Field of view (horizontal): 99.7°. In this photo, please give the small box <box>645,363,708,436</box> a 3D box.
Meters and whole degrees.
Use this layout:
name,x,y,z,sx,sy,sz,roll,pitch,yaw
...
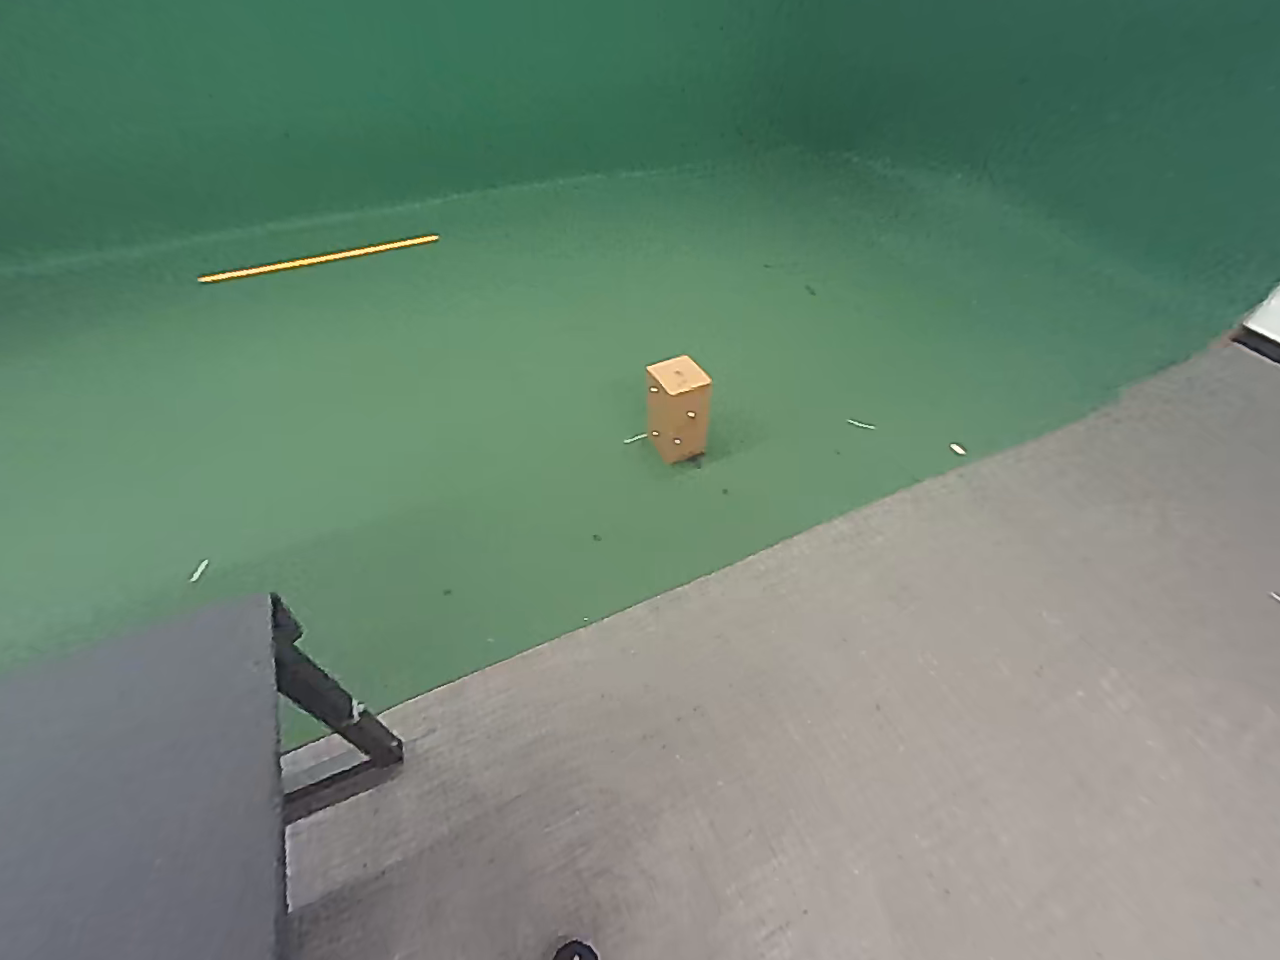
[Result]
name,x,y,z,sx,sy,sz,roll,pitch,yaw
small box,0.124,-0.288,1.938,0.168,0.176,0.179,-22,52,-19
